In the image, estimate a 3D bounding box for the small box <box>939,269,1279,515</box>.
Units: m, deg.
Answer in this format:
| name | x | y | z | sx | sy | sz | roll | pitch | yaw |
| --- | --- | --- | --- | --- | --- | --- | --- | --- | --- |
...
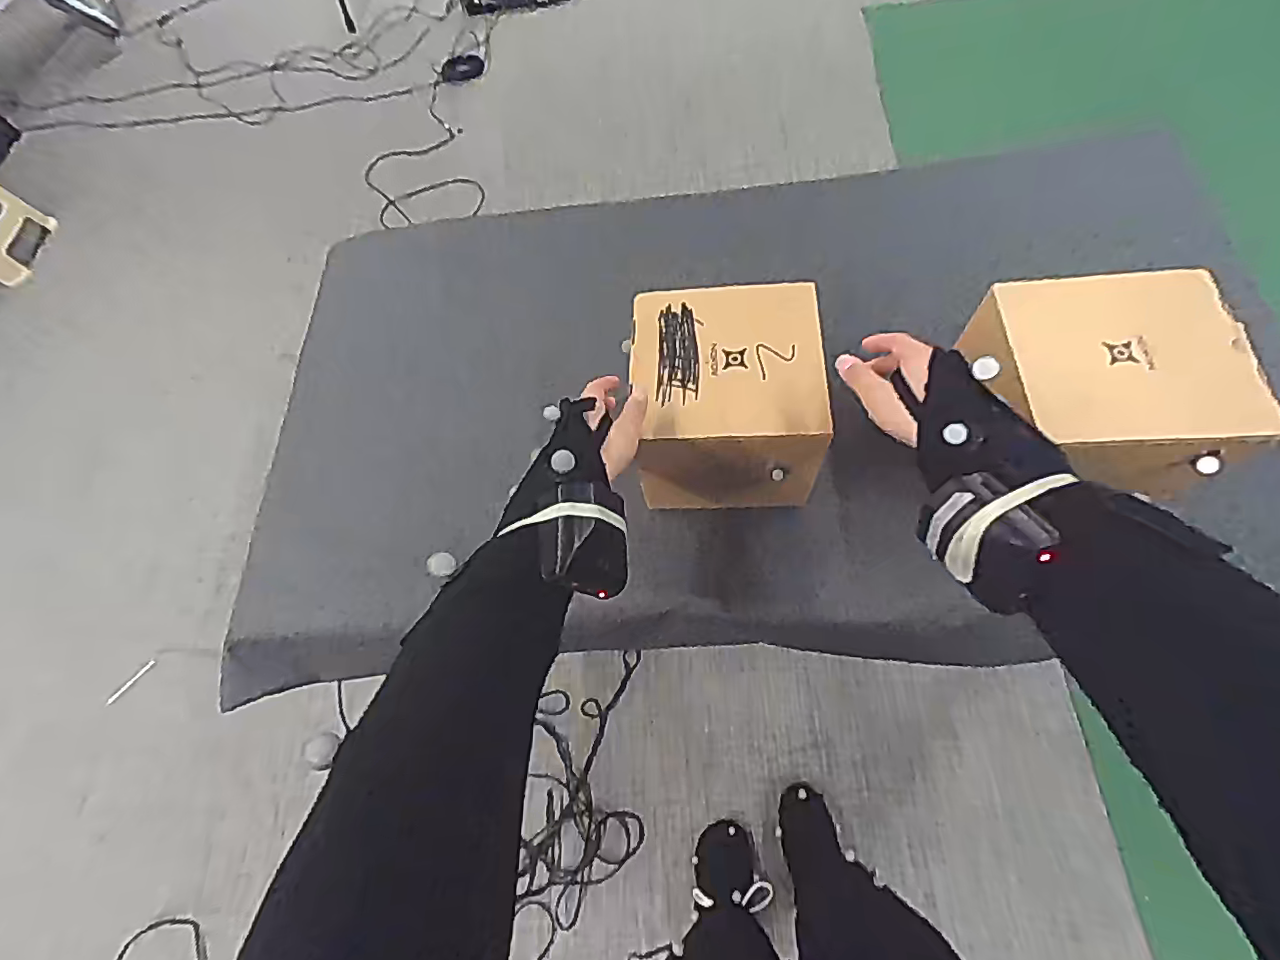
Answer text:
| name | x | y | z | sx | sy | sz | roll | pitch | yaw |
| --- | --- | --- | --- | --- | --- | --- | --- | --- | --- |
| small box | 0.409 | -0.071 | 0.513 | 0.179 | 0.176 | 0.168 | -2 | 66 | 7 |
